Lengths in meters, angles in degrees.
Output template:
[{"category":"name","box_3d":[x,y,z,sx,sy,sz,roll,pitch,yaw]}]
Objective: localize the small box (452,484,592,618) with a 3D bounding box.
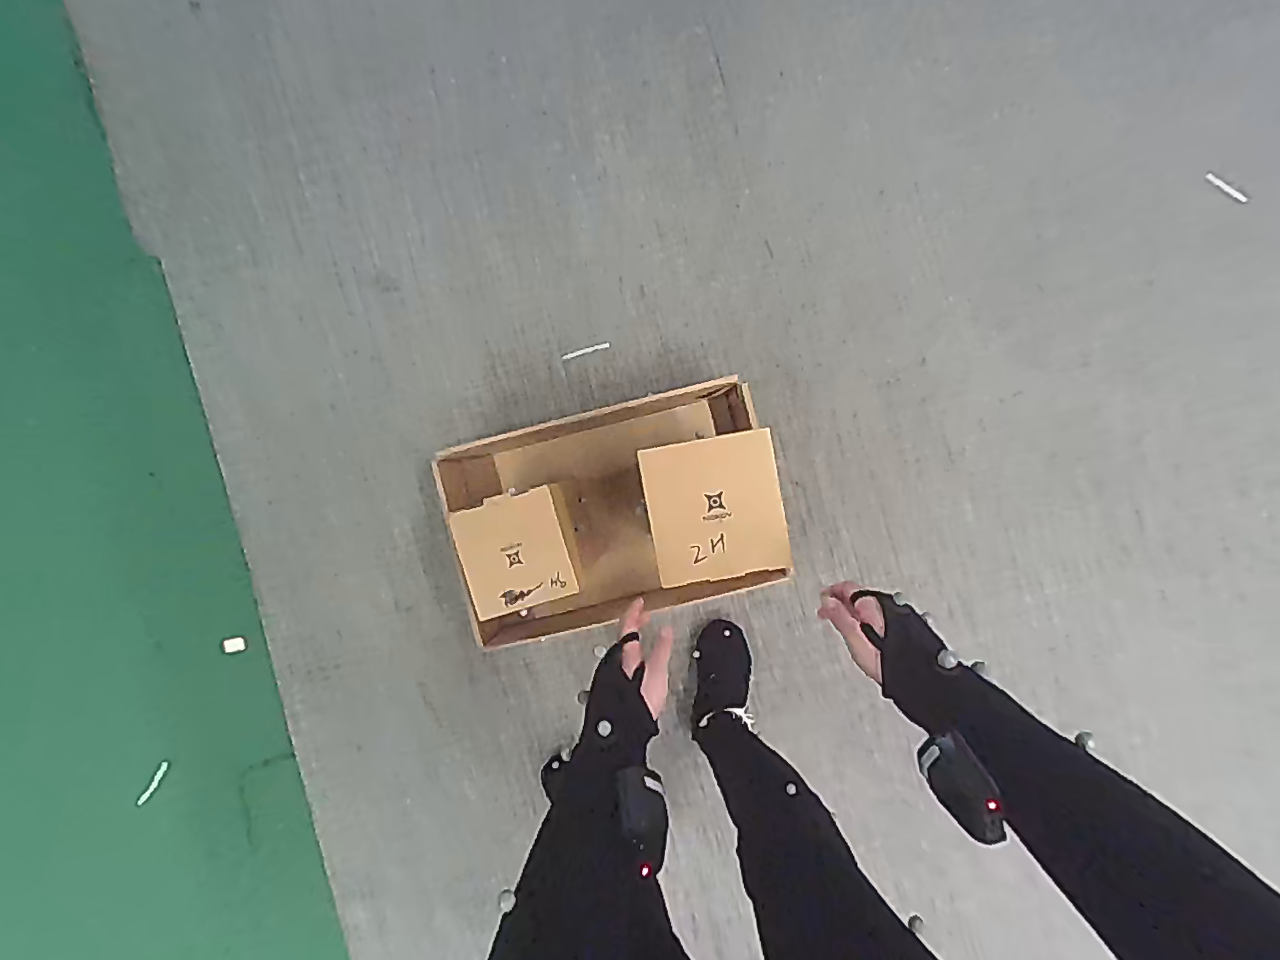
[{"category":"small box","box_3d":[-0.188,0.111,0.906,0.168,0.176,0.179,-16,89,3]}]

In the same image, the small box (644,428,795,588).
[{"category":"small box","box_3d":[0.097,0.034,0.735,0.168,0.176,0.179,-9,92,2]}]
